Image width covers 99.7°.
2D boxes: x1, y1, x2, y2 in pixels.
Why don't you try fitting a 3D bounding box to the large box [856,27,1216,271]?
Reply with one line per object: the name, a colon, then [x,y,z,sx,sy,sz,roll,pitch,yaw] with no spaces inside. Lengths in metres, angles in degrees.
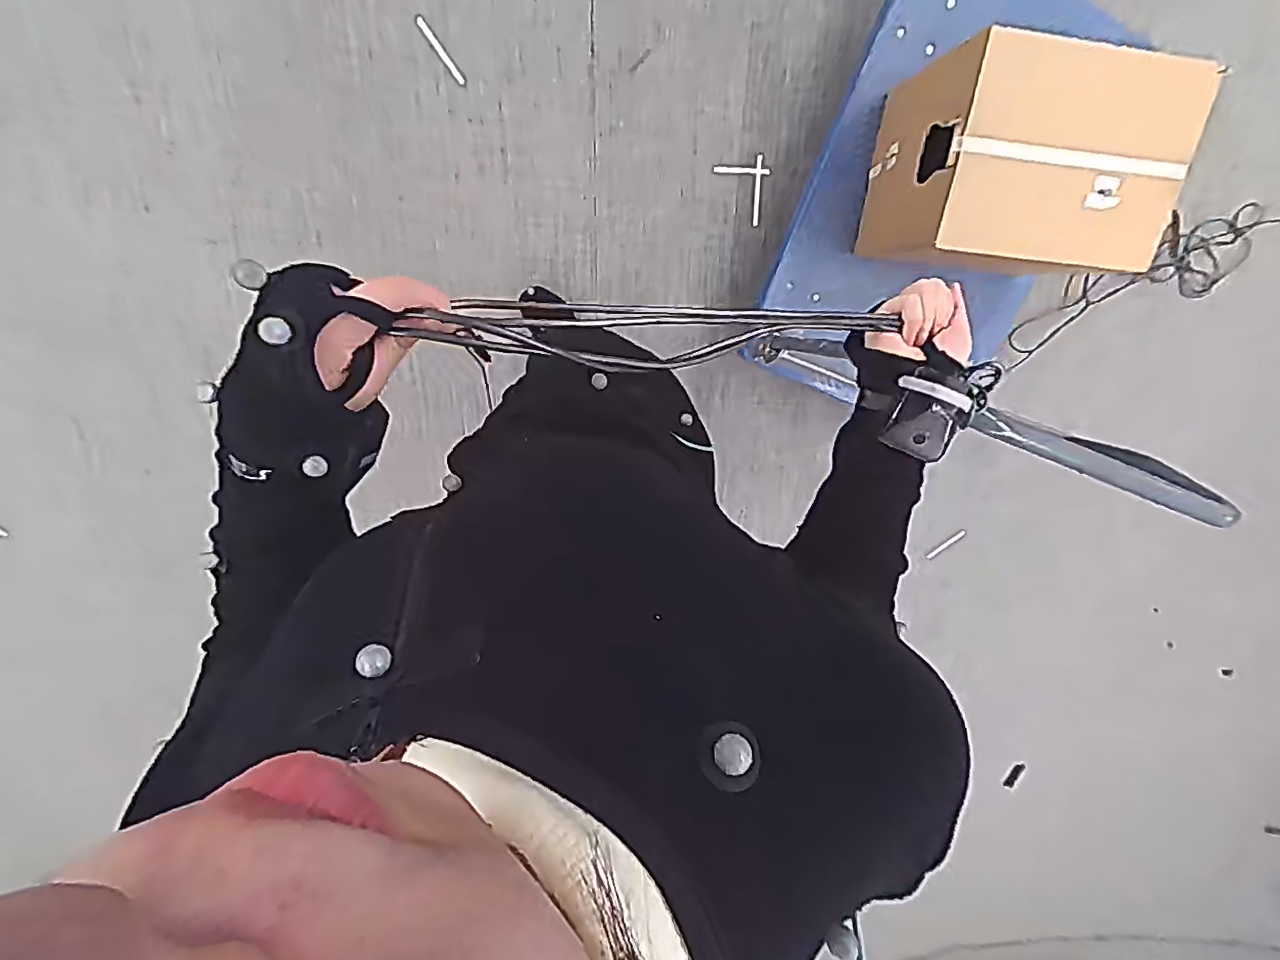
large box: [0.687,-0.578,1.019,0.408,0.320,0.320,3,111,-7]
